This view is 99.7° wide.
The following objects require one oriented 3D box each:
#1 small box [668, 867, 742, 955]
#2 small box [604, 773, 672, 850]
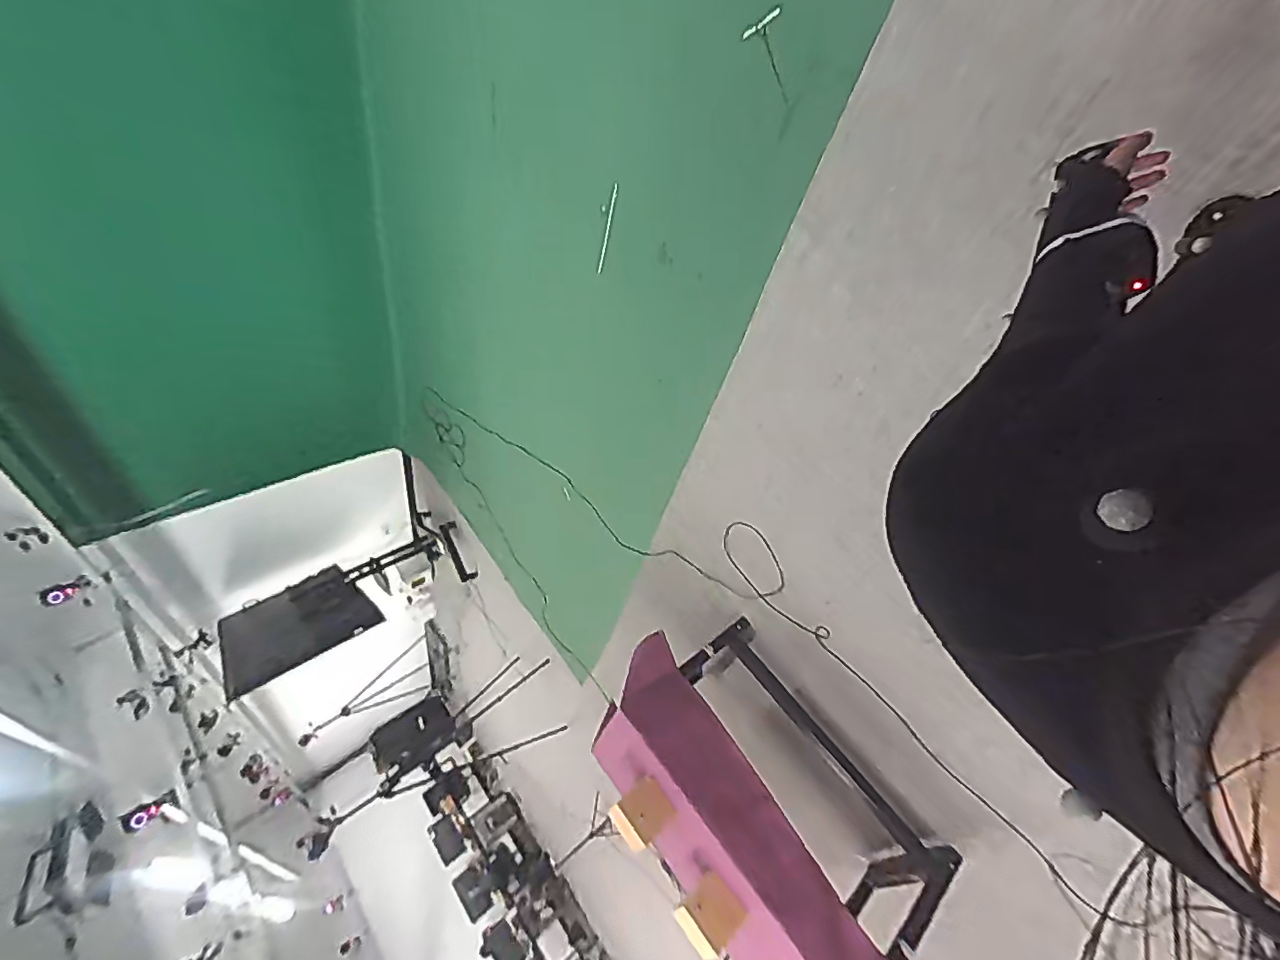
[{"bbox_3d":[0.232,1.519,1.907,0.179,0.176,0.168,46,142,26],"label":"small box"},{"bbox_3d":[-0.005,1.249,2.043,0.179,0.176,0.168,49,142,22],"label":"small box"}]
